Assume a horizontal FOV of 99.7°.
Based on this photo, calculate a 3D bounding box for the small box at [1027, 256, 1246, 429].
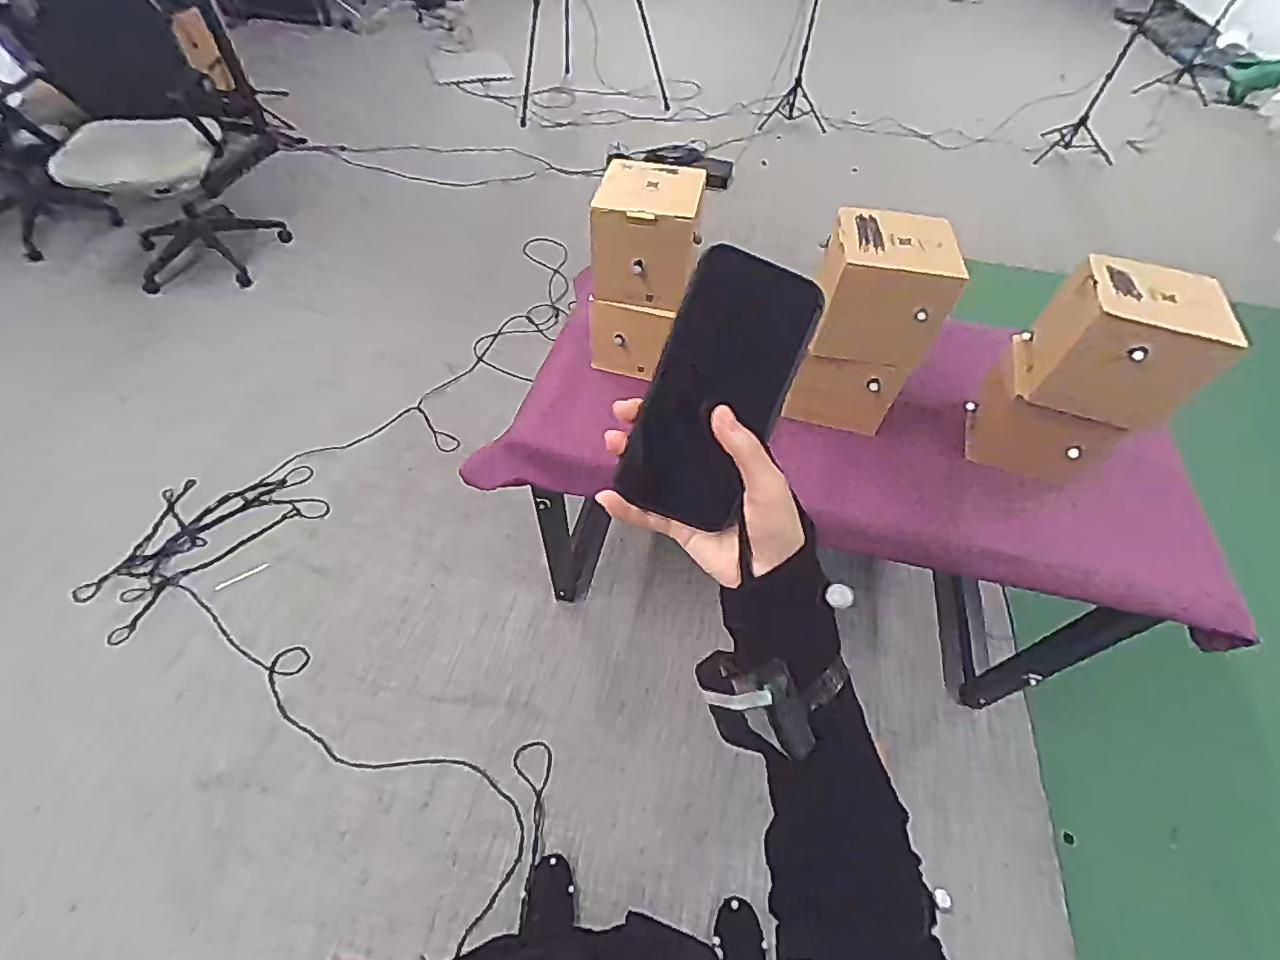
[{"bbox_3d":[0.712,-0.202,0.809,0.179,0.176,0.168,19,54,11],"label":"small box"}]

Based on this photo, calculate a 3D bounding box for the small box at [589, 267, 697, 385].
[{"bbox_3d":[0.008,-0.314,1.069,0.168,0.176,0.179,14,54,8],"label":"small box"}]

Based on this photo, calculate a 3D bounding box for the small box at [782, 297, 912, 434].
[{"bbox_3d":[0.379,-0.208,1.003,0.179,0.176,0.168,13,54,8],"label":"small box"}]

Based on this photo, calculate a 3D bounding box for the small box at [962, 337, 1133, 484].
[{"bbox_3d":[0.703,-0.117,0.950,0.179,0.176,0.168,19,54,12],"label":"small box"}]

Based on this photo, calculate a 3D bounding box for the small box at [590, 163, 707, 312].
[{"bbox_3d":[0.016,-0.419,0.943,0.168,0.176,0.179,10,54,5],"label":"small box"}]
